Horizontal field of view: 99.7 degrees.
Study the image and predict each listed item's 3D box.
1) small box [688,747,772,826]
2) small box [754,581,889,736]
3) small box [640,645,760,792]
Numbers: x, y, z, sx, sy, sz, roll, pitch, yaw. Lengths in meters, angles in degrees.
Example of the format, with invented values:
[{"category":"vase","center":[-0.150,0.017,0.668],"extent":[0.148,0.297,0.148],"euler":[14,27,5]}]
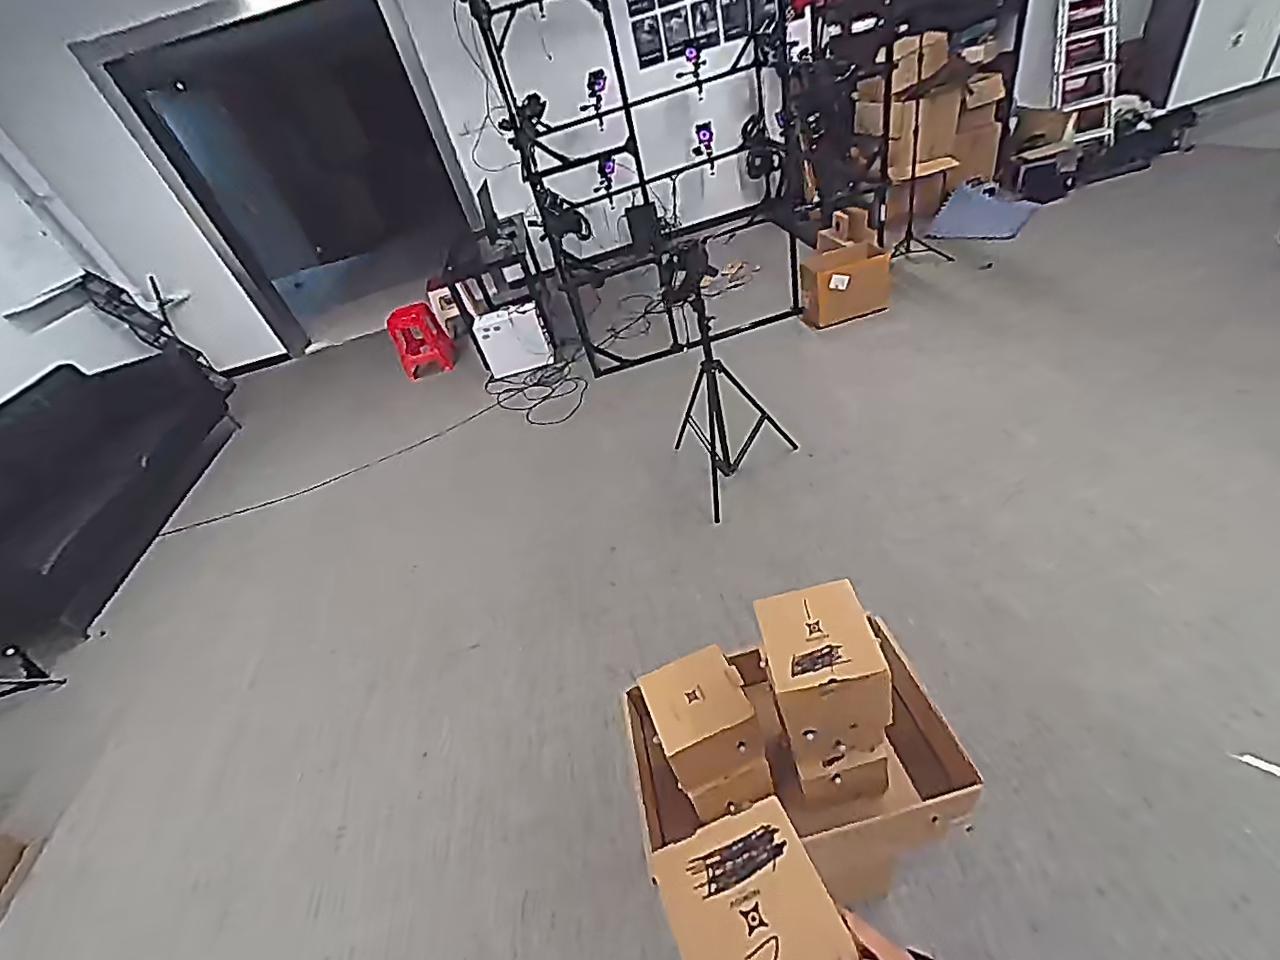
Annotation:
[{"category":"small box","center":[0.163,0.583,1.137],"extent":[0.168,0.176,0.179],"euler":[-22,39,-6]},{"category":"small box","center":[0.298,0.301,0.893],"extent":[0.168,0.176,0.179],"euler":[-15,38,8]},{"category":"small box","center":[0.119,0.458,1.040],"extent":[0.179,0.176,0.168],"euler":[-22,38,-7]}]
